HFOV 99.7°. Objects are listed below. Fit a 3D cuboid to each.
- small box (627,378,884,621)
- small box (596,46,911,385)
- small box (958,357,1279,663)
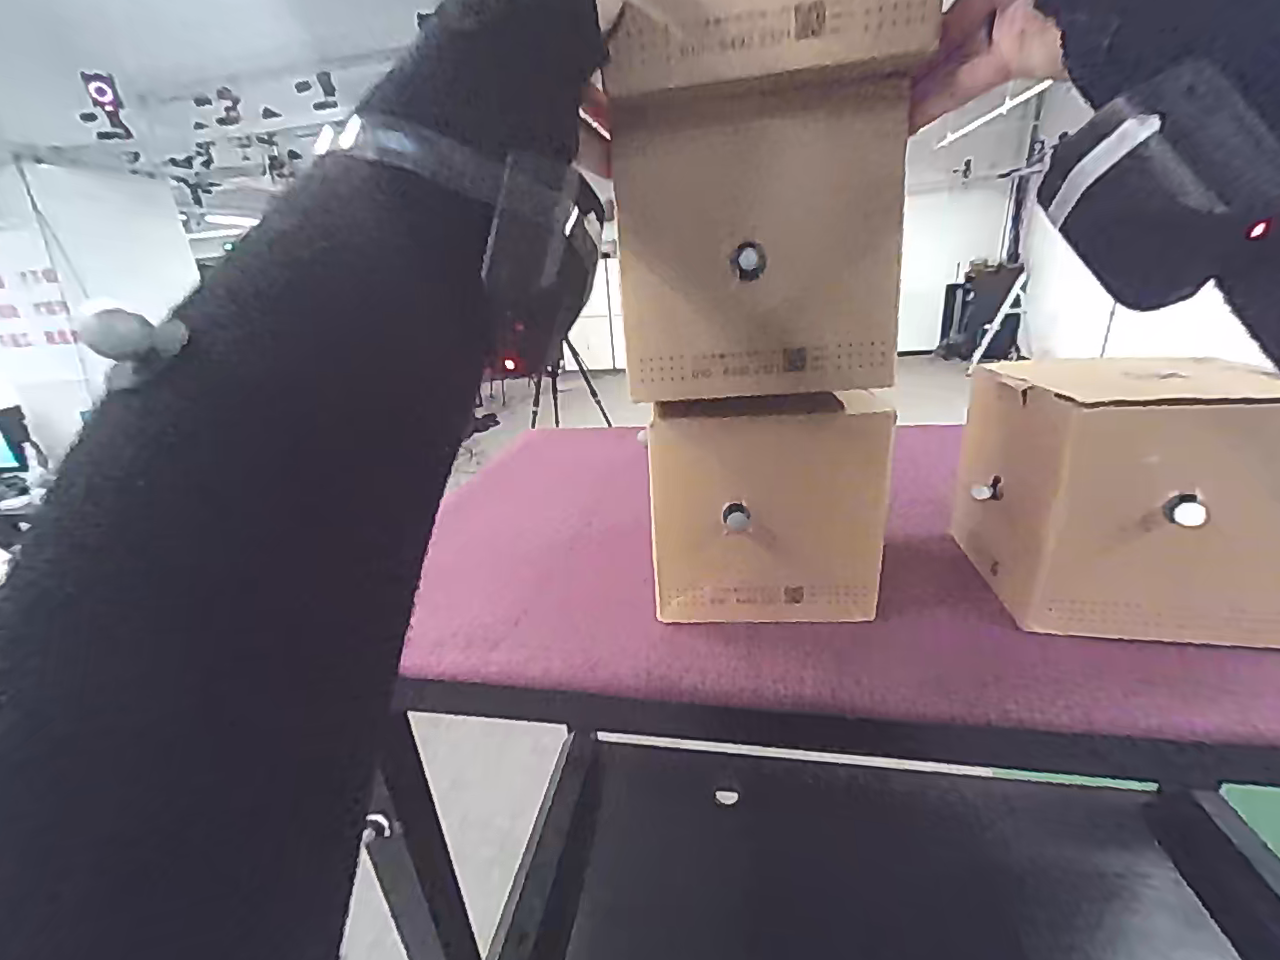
[{"bbox_3d":[0.086,0.000,0.446,0.168,0.176,0.179,-1,21,6],"label":"small box"},{"bbox_3d":[0.070,-0.157,0.379,0.168,0.176,0.179,0,16,7],"label":"small box"},{"bbox_3d":[0.352,0.010,0.391,0.179,0.176,0.168,2,22,12],"label":"small box"}]
